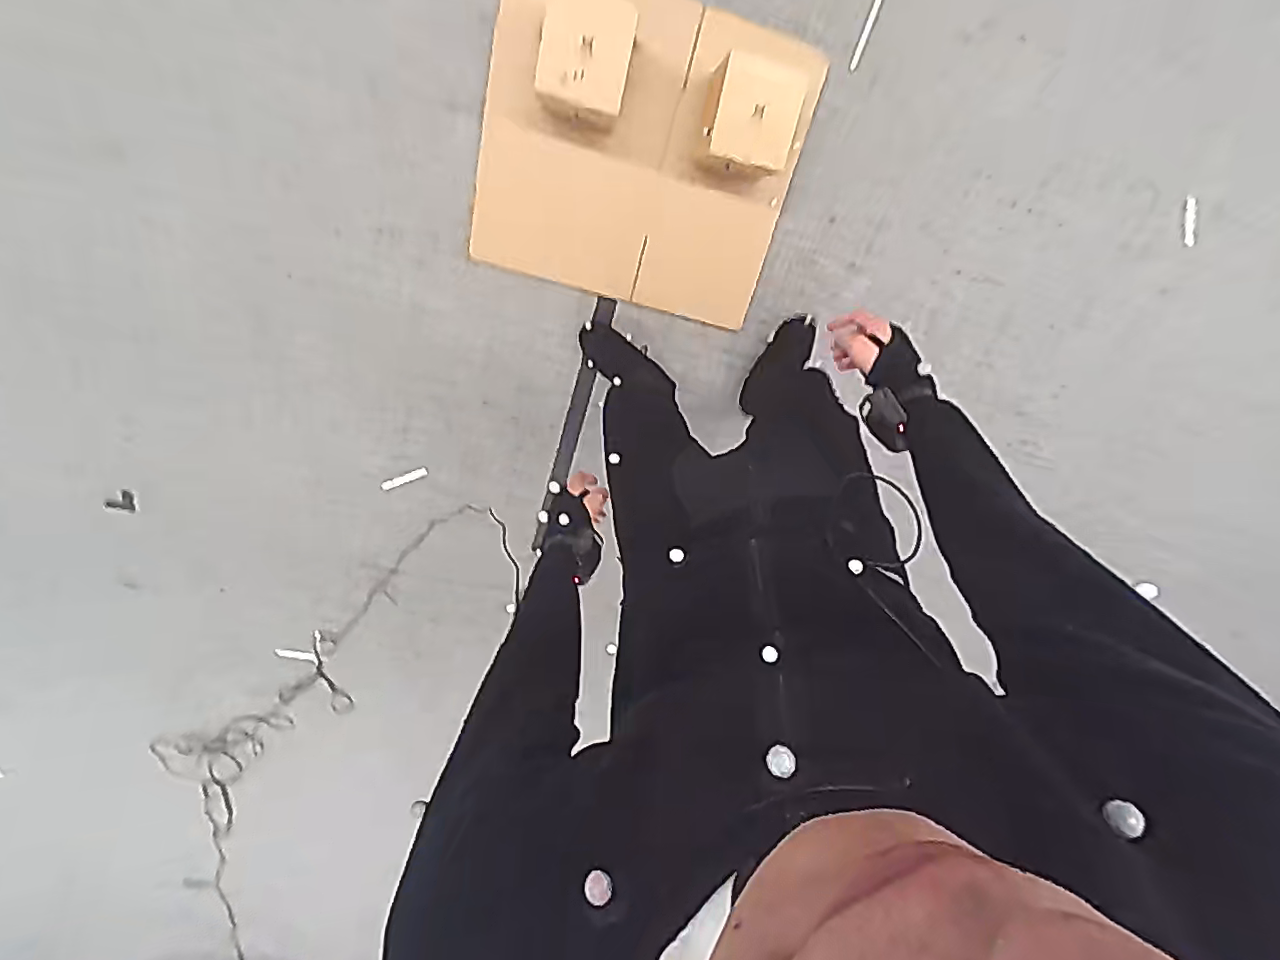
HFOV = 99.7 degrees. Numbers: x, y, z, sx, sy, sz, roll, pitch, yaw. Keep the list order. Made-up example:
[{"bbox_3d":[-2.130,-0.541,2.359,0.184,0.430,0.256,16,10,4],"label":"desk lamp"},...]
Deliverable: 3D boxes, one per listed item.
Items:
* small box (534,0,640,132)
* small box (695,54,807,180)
[{"bbox_3d":[-0.107,-0.821,1.070,0.168,0.176,0.179,12,114,-10],"label":"small box"},{"bbox_3d":[0.223,-0.752,1.142,0.168,0.176,0.179,8,114,-9],"label":"small box"}]
